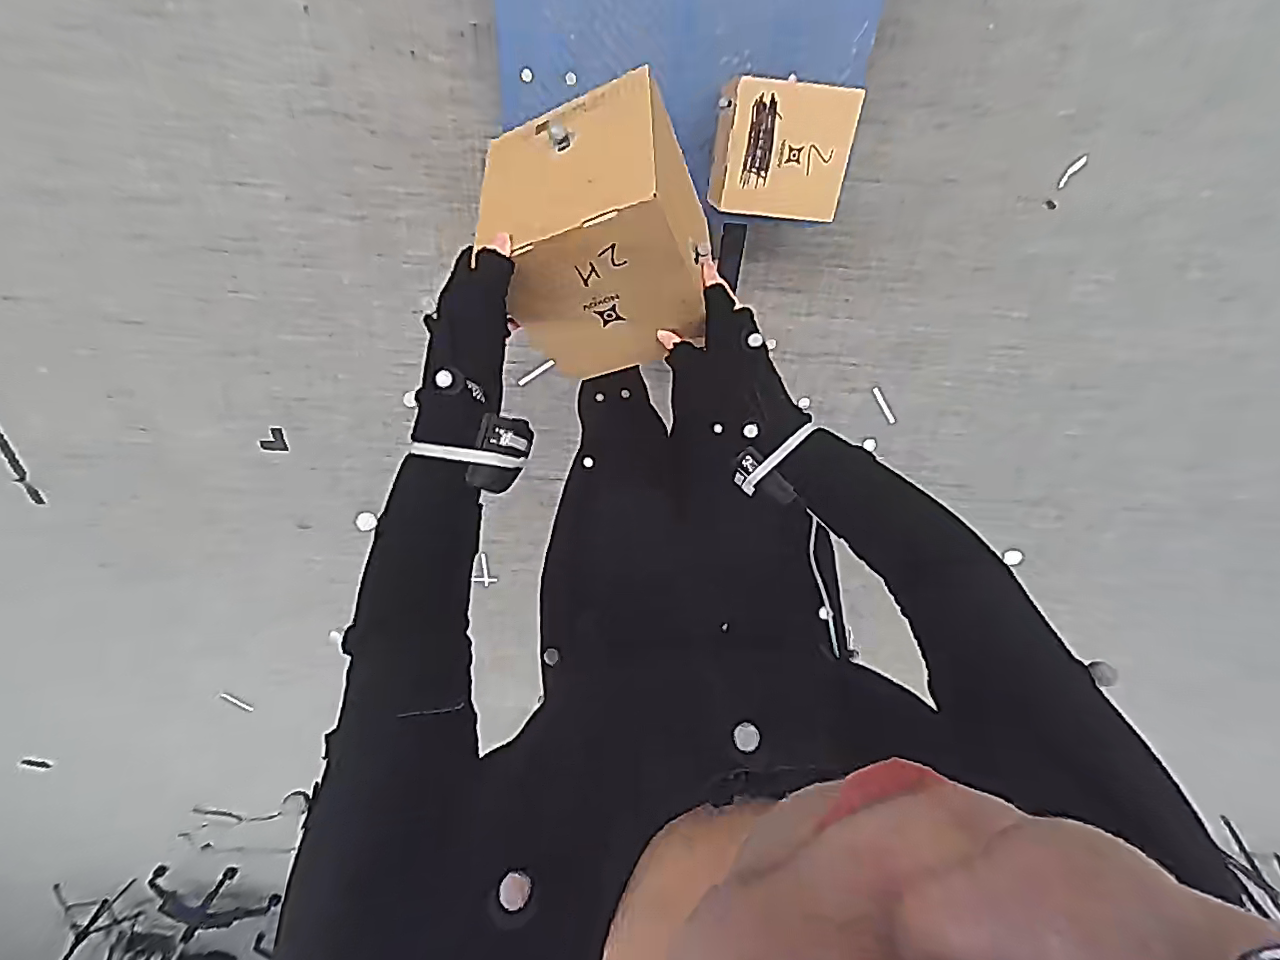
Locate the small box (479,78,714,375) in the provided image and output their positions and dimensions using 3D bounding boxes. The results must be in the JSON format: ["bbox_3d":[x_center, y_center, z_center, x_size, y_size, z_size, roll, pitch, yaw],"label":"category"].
[{"bbox_3d":[-0.030,-0.236,0.531,0.168,0.176,0.179,-11,151,19],"label":"small box"}]
